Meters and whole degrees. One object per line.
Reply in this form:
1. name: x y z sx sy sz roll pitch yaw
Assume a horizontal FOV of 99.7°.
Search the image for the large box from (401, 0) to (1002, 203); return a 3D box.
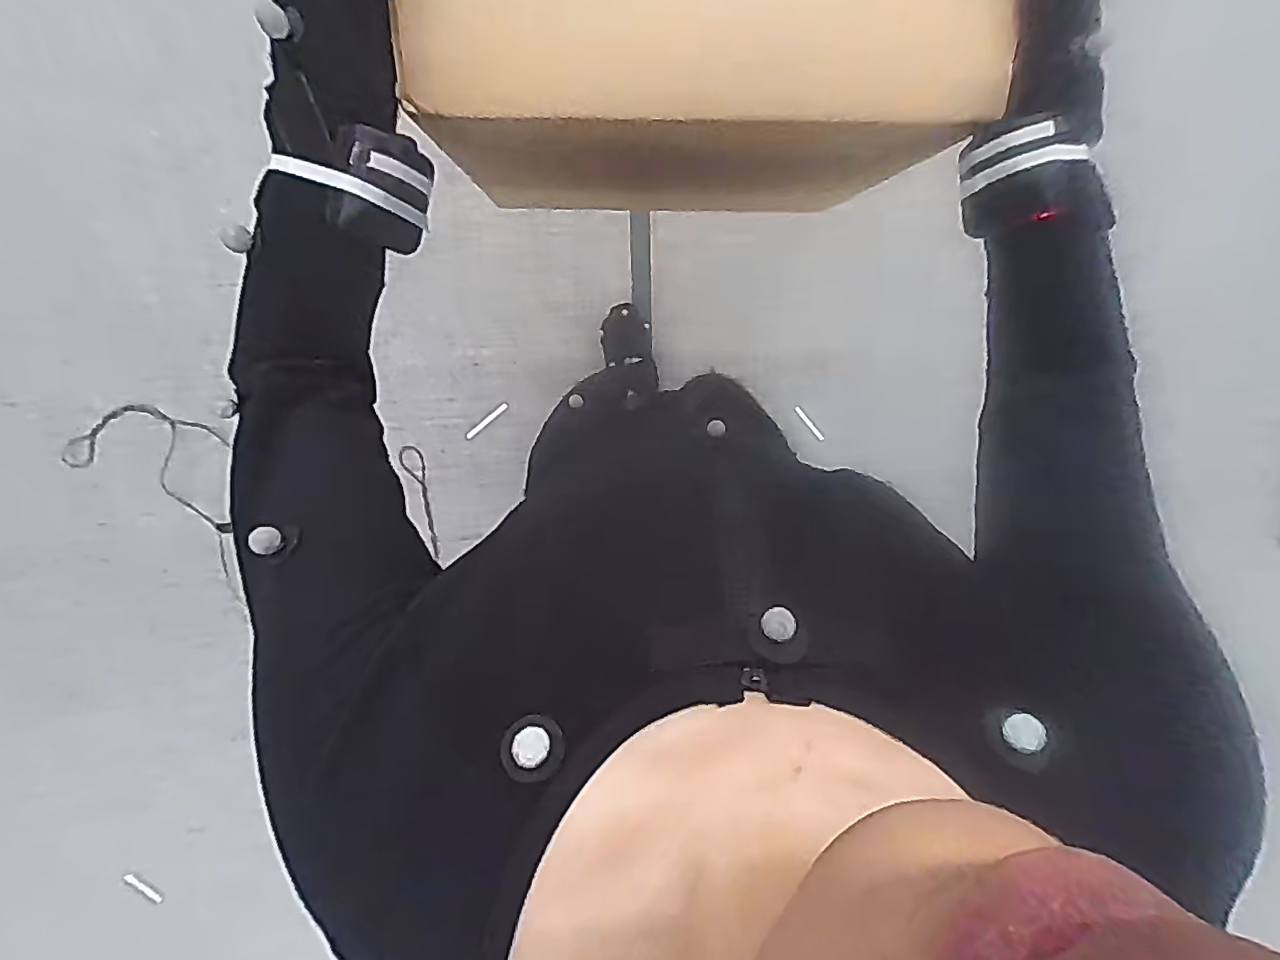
1. large box: 0.033 -0.444 0.469 0.408 0.320 0.320 -1 107 -3
